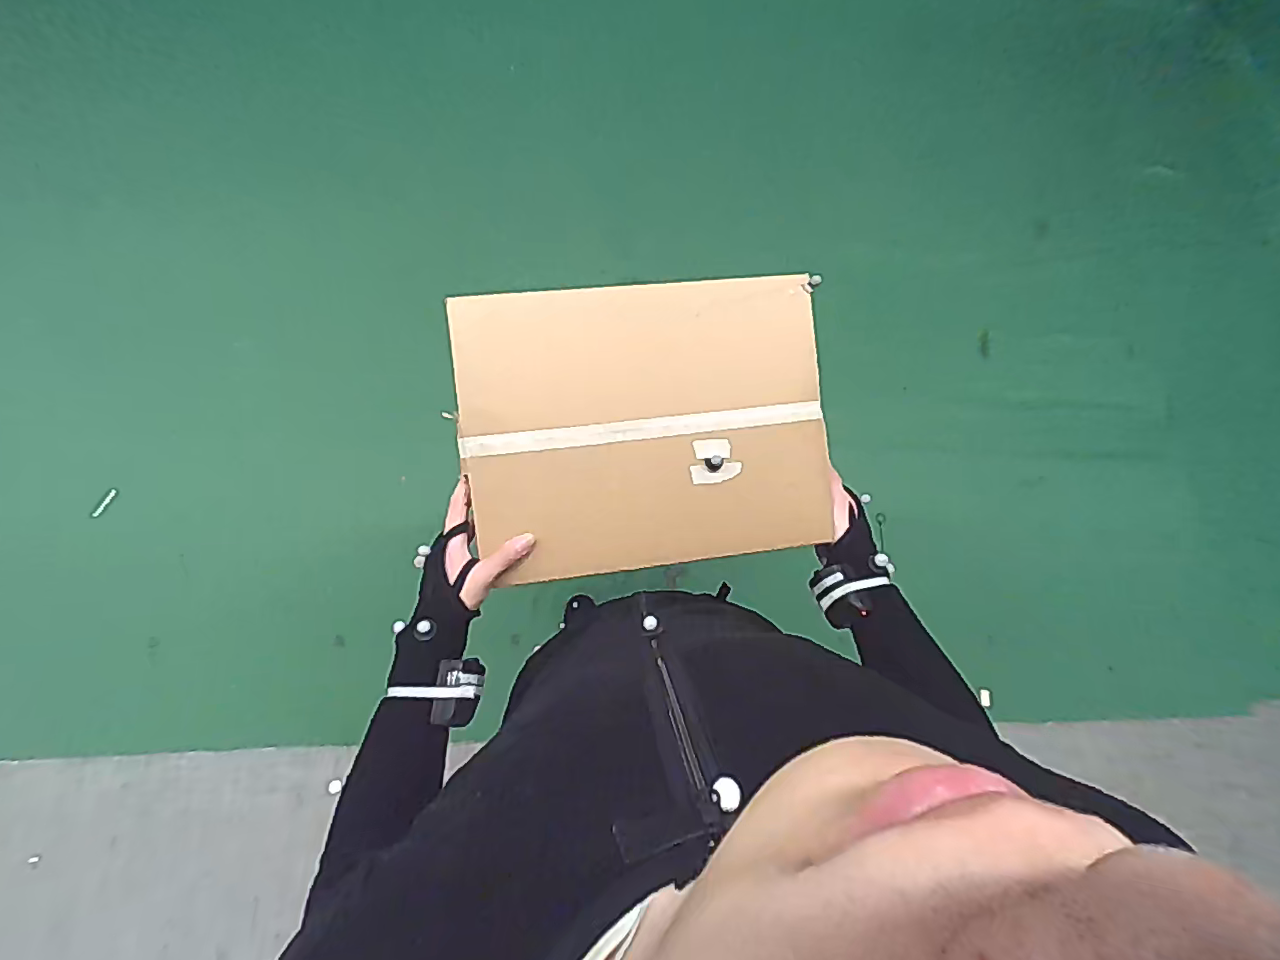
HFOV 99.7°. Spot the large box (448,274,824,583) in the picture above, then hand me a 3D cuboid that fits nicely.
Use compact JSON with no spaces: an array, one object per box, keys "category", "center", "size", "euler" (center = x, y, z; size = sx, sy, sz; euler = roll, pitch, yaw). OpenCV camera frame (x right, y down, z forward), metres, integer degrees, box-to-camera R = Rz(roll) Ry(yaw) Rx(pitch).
[{"category":"large box","center":[-0.016,-0.067,0.756],"size":[0.408,0.320,0.320],"euler":[-7,93,-8]}]
